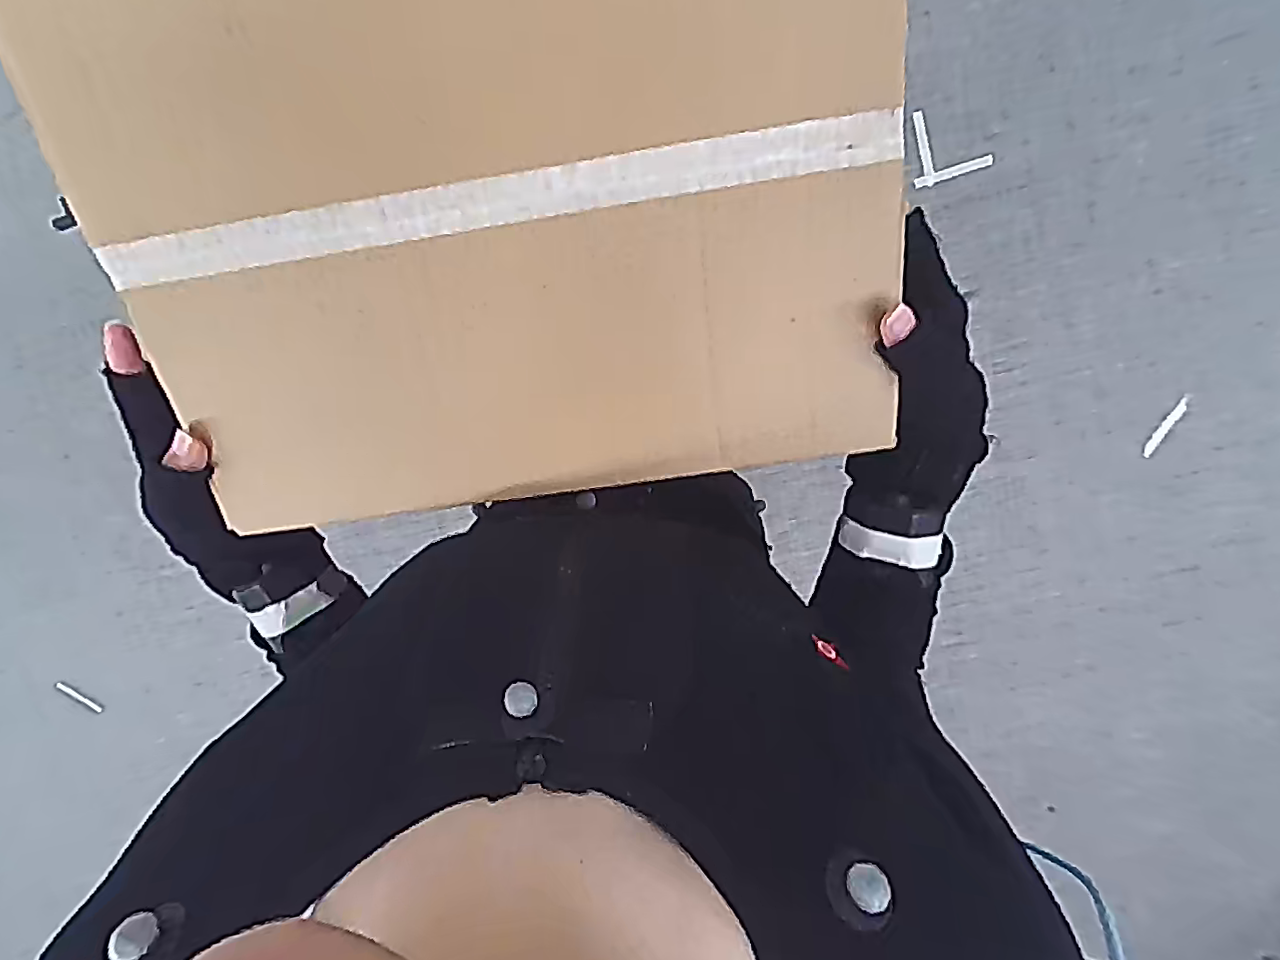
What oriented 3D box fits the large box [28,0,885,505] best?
[{"bbox_3d":[-0.076,-0.205,0.420,0.408,0.320,0.320,-8,112,3],"label":"large box"}]
